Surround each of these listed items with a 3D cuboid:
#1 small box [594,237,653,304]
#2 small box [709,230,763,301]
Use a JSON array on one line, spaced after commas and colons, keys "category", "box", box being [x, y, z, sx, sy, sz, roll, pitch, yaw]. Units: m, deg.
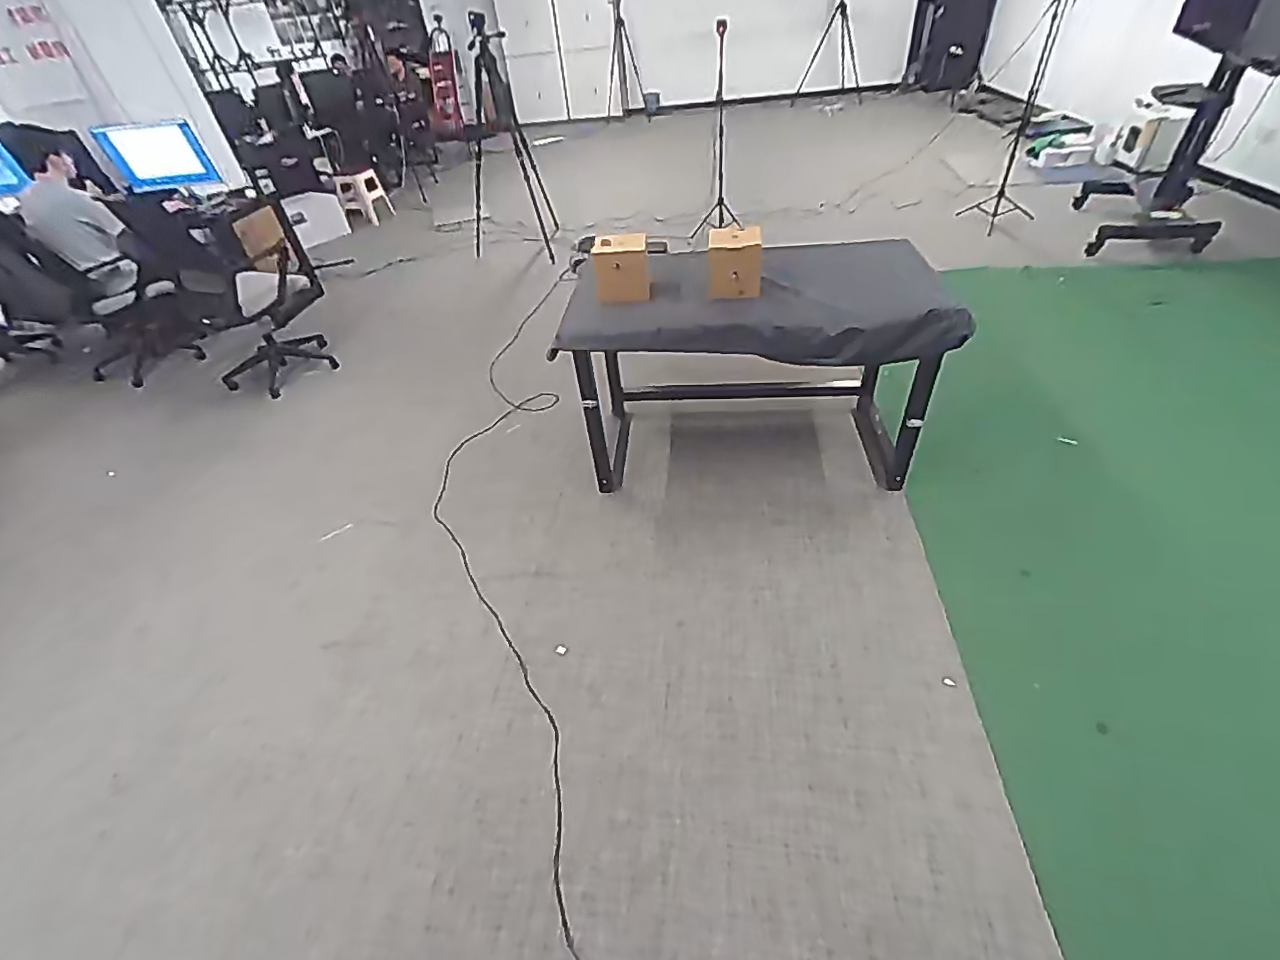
[{"category": "small box", "box": [-0.050, -0.708, 1.835, 0.179, 0.176, 0.168, -1, 42, 5]}, {"category": "small box", "box": [0.316, -0.702, 1.780, 0.168, 0.176, 0.179, 1, 42, 9]}]
